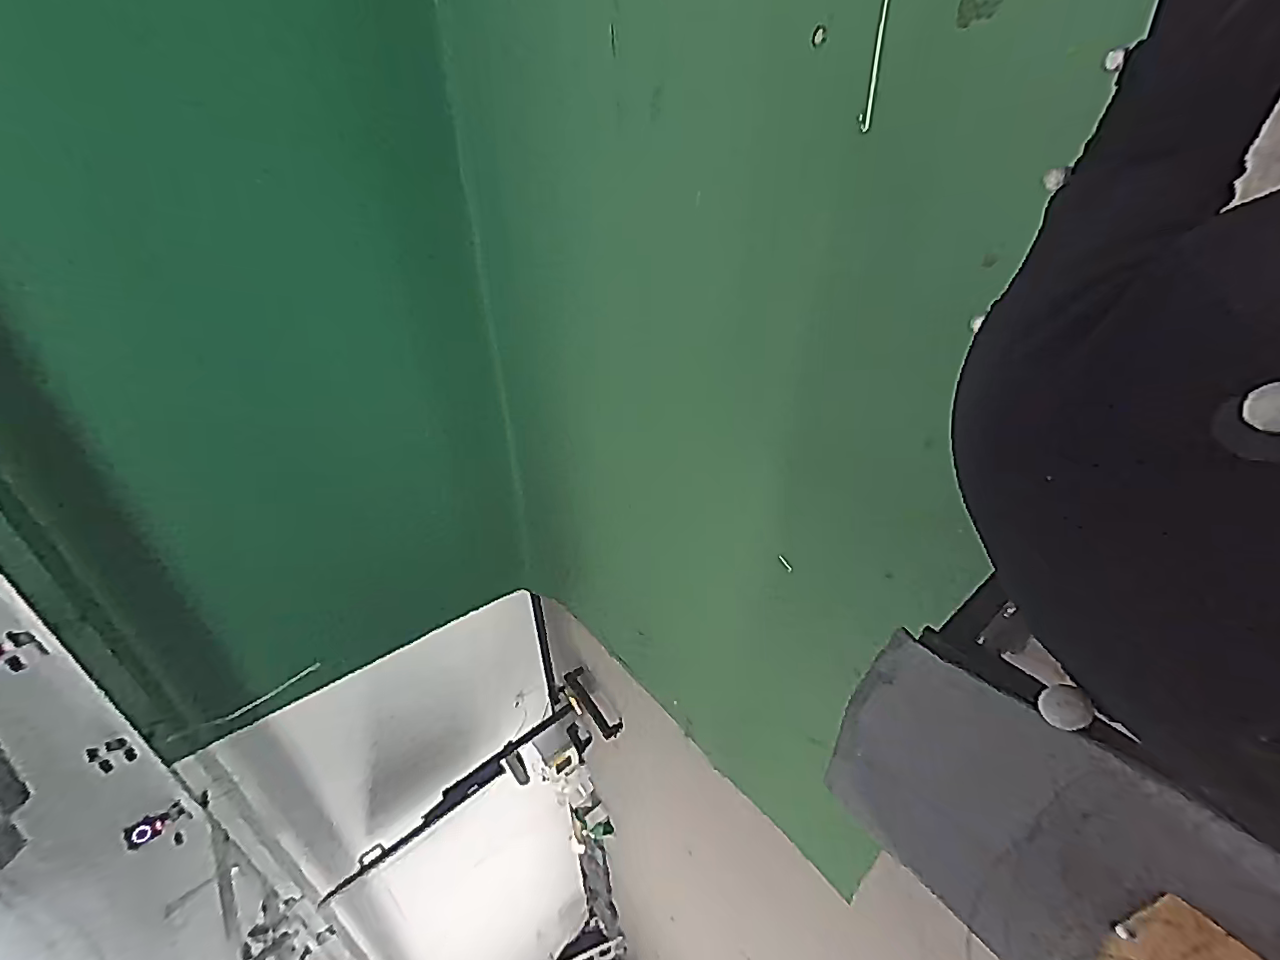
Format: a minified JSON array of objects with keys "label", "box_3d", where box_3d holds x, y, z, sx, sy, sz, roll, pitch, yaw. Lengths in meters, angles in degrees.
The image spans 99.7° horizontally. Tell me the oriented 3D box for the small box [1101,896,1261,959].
[{"label":"small box","box_3d":[0.716,0.690,0.683,0.179,0.176,0.168,37,138,39]}]
